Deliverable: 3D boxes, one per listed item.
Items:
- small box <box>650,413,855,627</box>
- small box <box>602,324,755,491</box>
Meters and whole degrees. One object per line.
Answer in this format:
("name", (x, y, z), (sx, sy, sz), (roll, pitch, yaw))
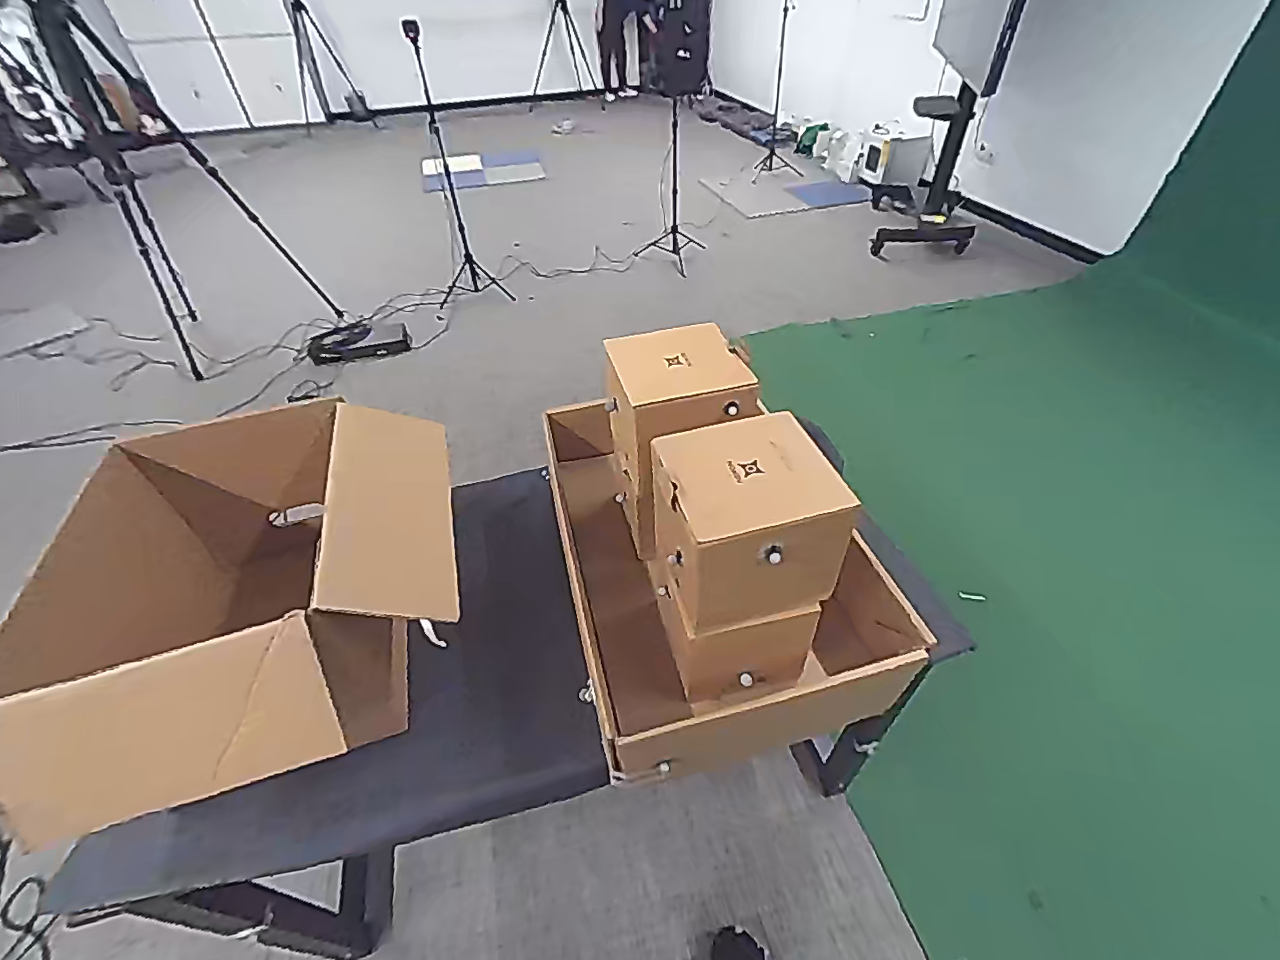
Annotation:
("small box", (0.118, 0.049, 0.637), (0.179, 0.176, 0.168), (-12, 45, -9))
("small box", (0.051, -0.104, 0.800), (0.179, 0.176, 0.168), (-12, 47, -10))
